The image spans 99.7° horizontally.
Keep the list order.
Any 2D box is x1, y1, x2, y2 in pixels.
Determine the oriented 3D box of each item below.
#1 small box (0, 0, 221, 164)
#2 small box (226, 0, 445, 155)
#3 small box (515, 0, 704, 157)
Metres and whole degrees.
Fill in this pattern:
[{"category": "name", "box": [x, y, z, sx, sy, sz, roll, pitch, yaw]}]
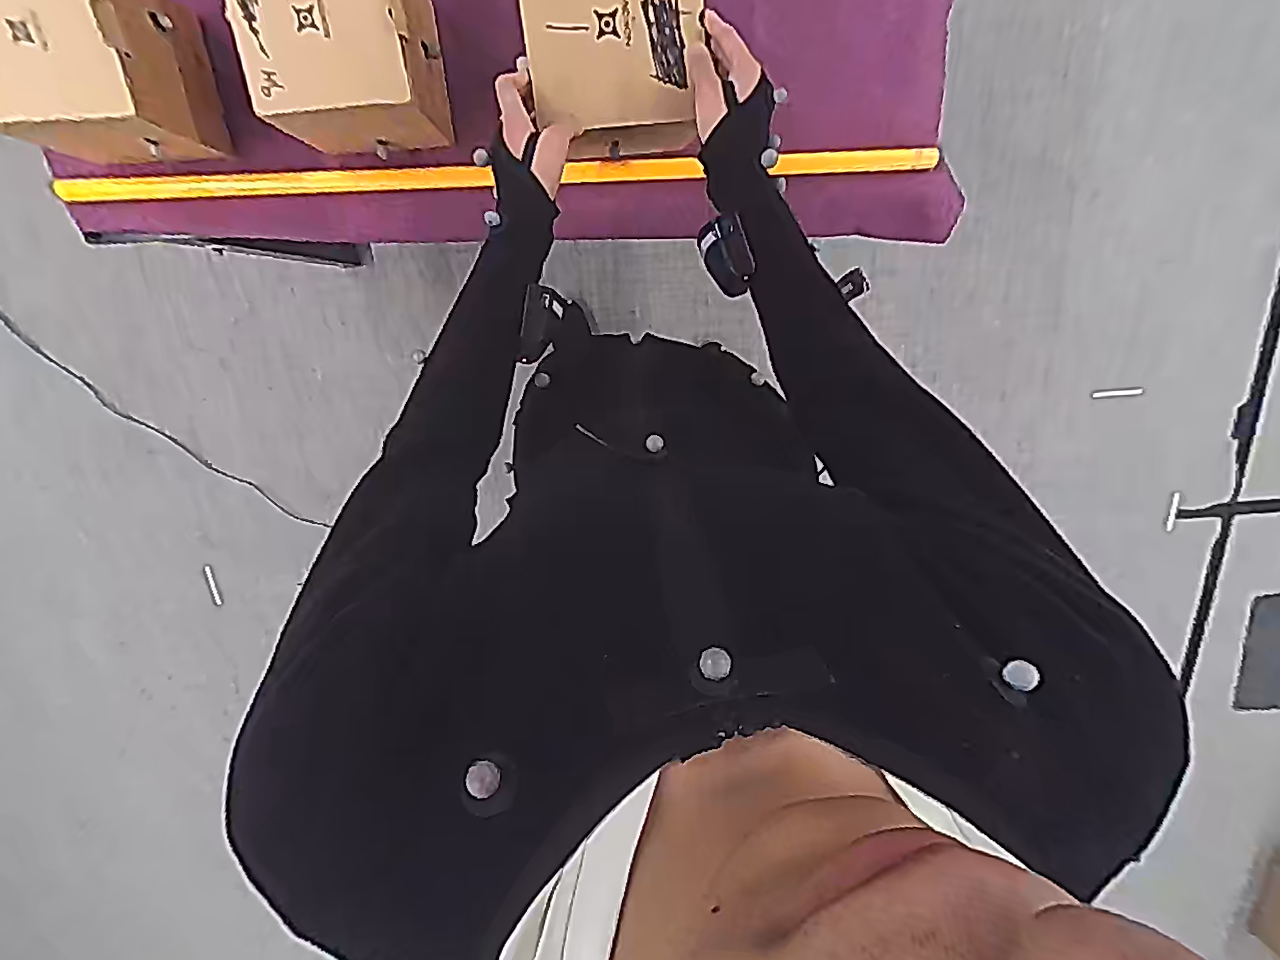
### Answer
[{"category": "small box", "box": [-0.641, -0.487, 0.636, 0.179, 0.176, 0.168, -5, 107, -3]}, {"category": "small box", "box": [-0.347, -0.506, 0.646, 0.179, 0.176, 0.168, -5, 107, -2]}, {"category": "small box", "box": [-0.035, -0.458, 0.581, 0.179, 0.176, 0.168, -7, 113, -3]}]
